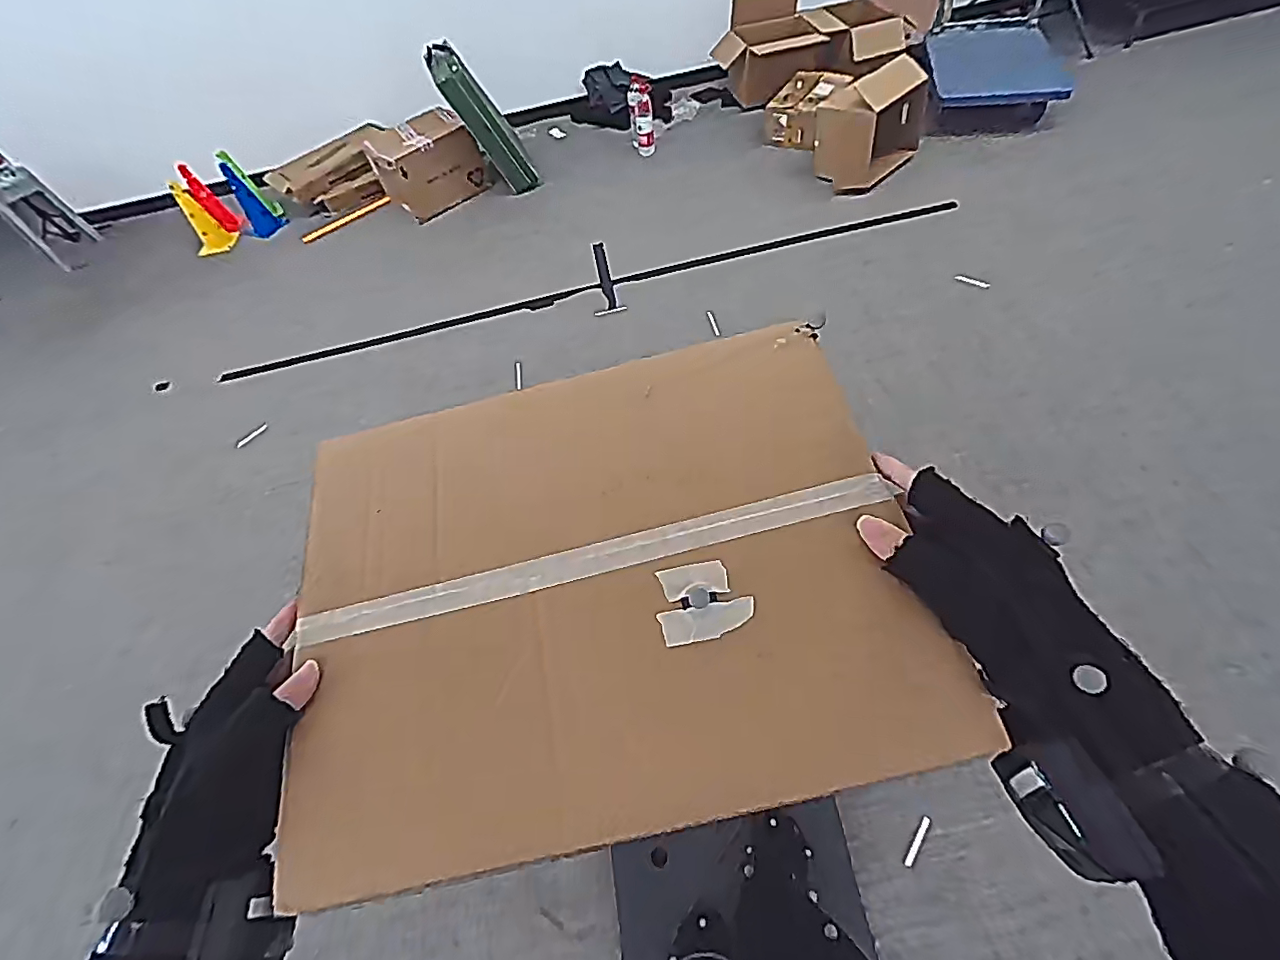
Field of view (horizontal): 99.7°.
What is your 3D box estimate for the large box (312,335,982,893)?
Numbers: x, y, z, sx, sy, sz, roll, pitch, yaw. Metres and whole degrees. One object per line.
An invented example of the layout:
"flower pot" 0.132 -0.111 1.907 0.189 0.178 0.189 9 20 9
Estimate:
"large box" -0.009 0.127 0.507 0.408 0.320 0.320 -14 62 1
